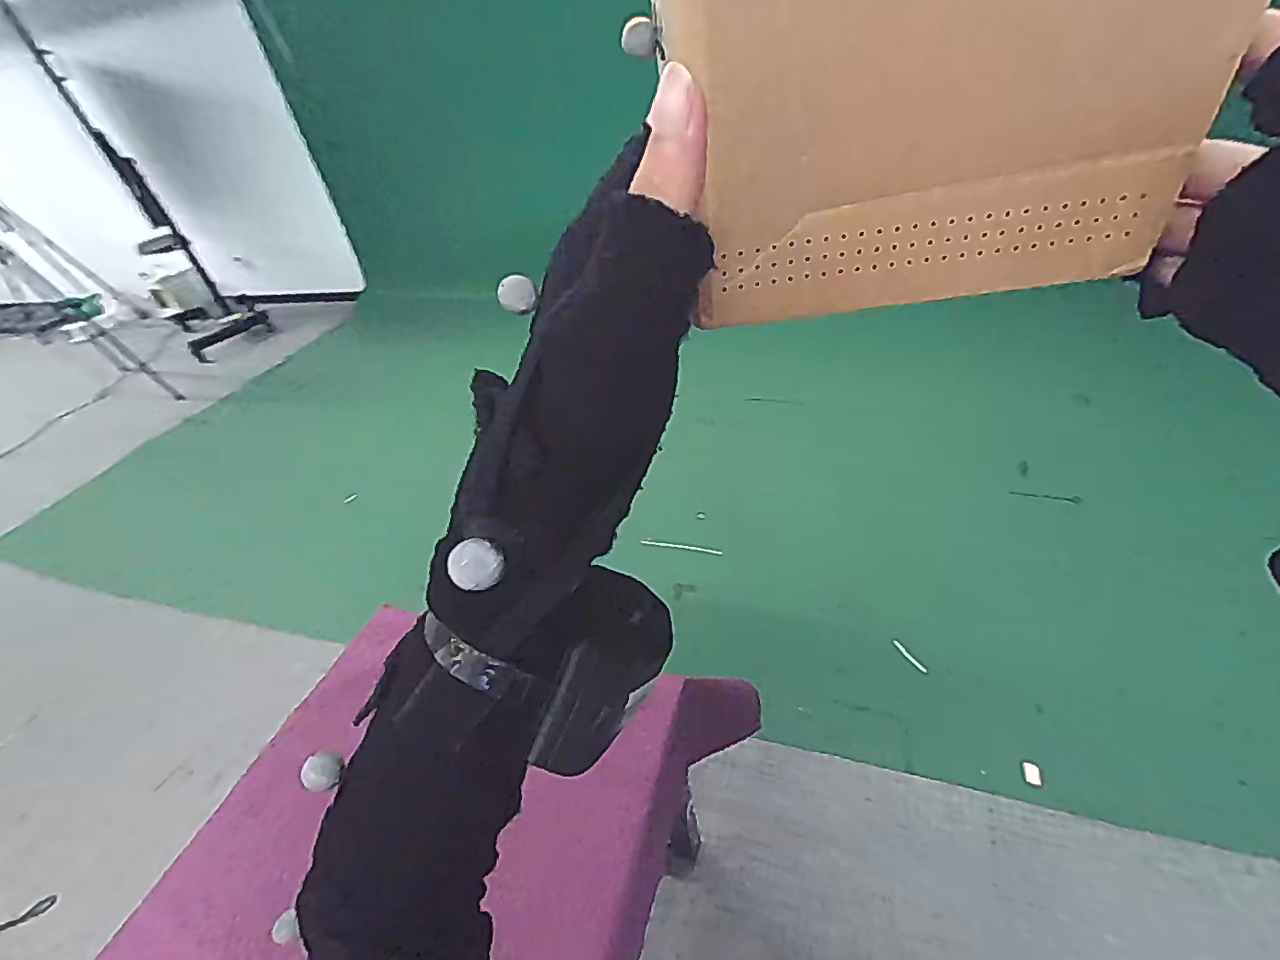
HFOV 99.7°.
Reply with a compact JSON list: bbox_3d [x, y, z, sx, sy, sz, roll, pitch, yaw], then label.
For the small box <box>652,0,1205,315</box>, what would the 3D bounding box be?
[{"bbox_3d":[0.095,-0.184,0.232,0.179,0.176,0.168,-5,41,5],"label":"small box"}]
